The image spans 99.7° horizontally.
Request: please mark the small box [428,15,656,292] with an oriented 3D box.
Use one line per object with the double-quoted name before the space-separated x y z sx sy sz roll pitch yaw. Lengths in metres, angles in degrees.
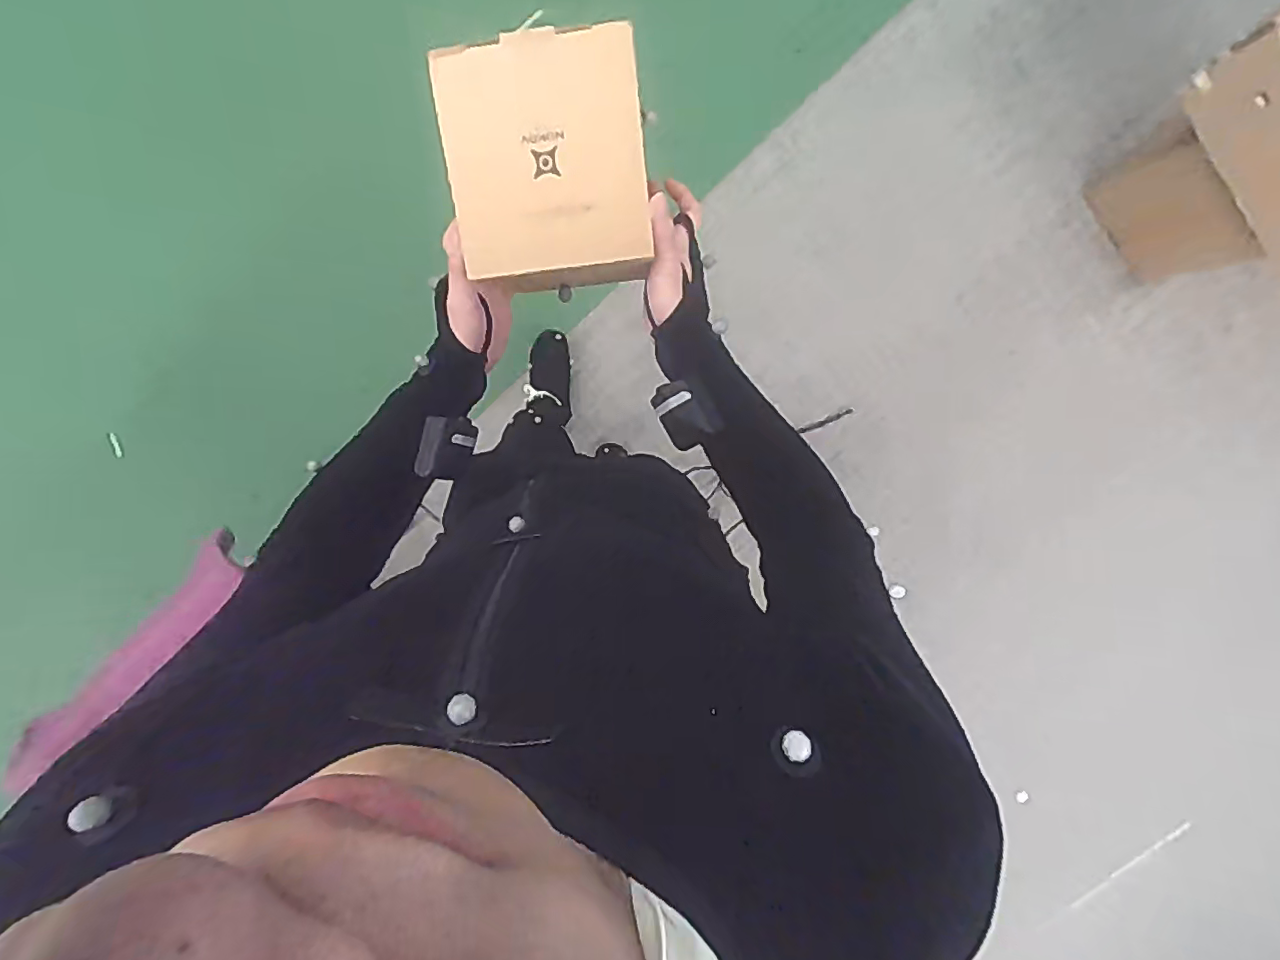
"small box" -0.074 -0.283 0.510 0.168 0.176 0.179 -5 105 3
